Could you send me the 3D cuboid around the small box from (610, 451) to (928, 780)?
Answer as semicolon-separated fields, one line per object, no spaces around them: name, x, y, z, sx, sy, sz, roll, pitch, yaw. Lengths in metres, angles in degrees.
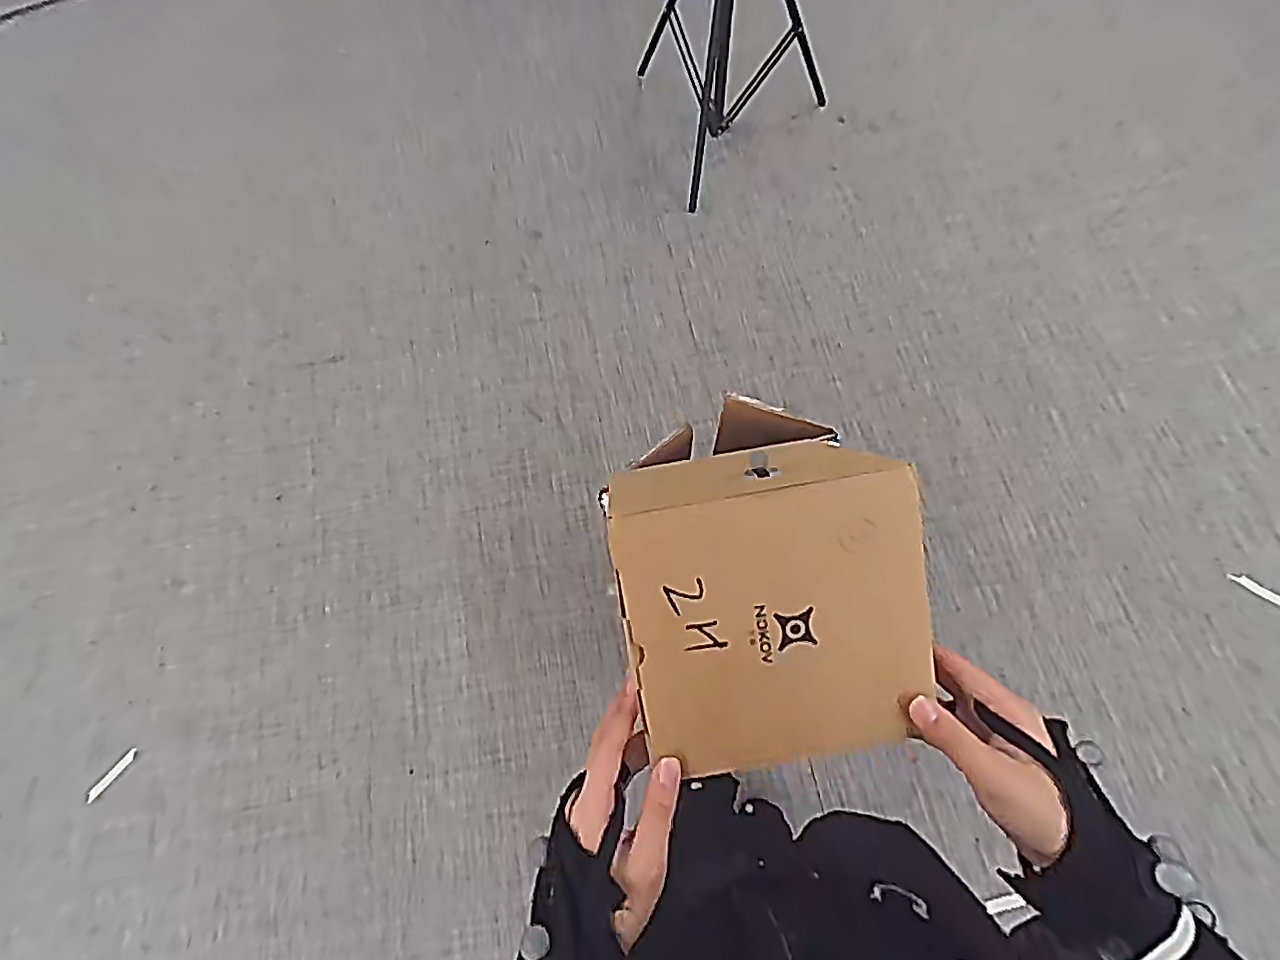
small box;0.075;0.077;0.396;0.179;0.176;0.168;-10;98;-1
